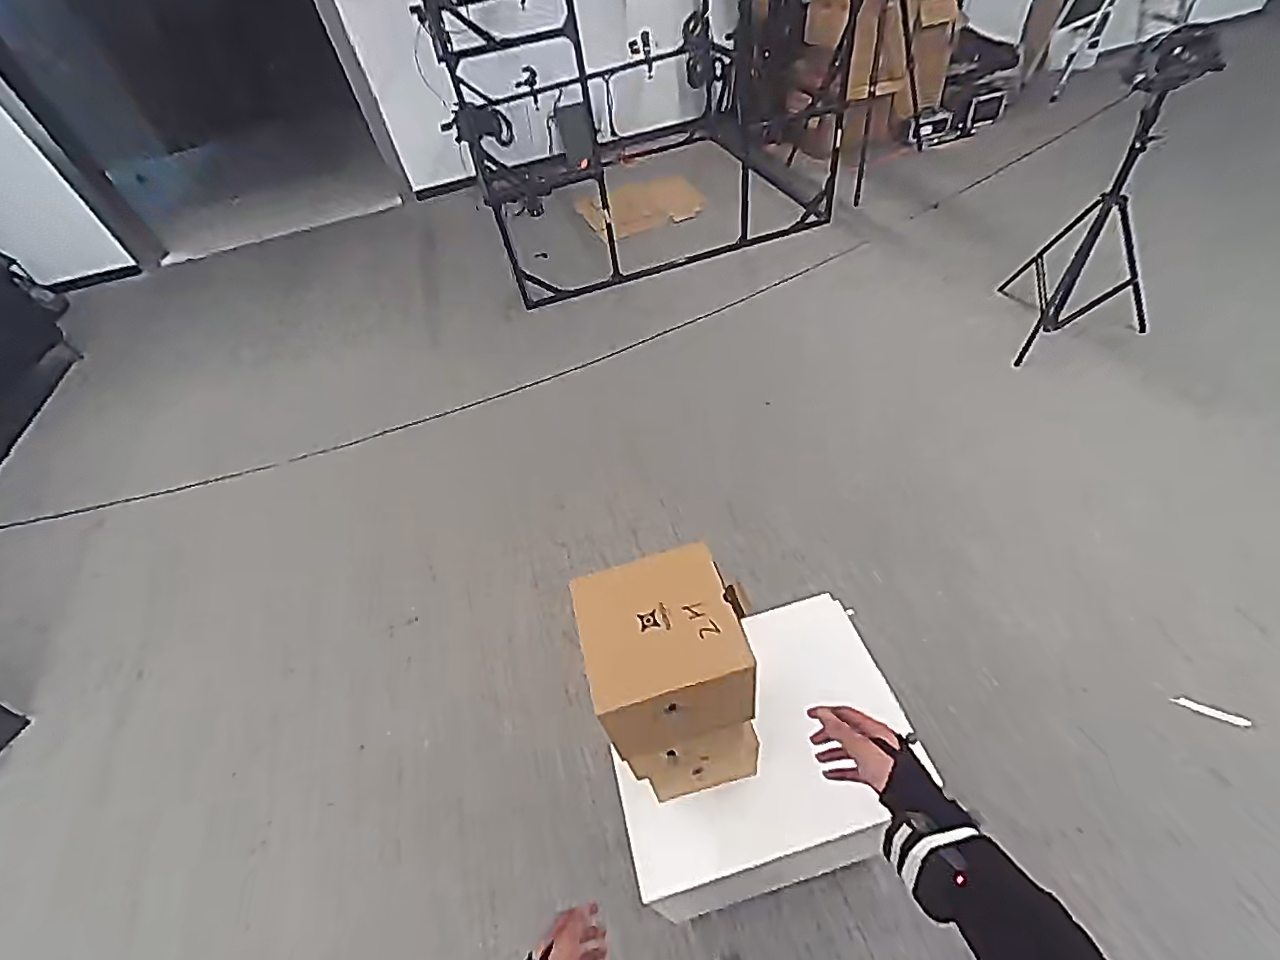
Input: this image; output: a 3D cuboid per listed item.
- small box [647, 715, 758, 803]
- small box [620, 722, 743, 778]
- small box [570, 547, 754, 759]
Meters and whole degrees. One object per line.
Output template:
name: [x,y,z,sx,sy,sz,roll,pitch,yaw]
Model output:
small box: [0.088,0.417,0.909,0.179,0.176,0.168,-14,47,-4]
small box: [0.049,0.314,0.789,0.168,0.176,0.179,-14,47,-2]
small box: [0.029,0.214,0.658,0.179,0.176,0.168,-16,48,-4]
